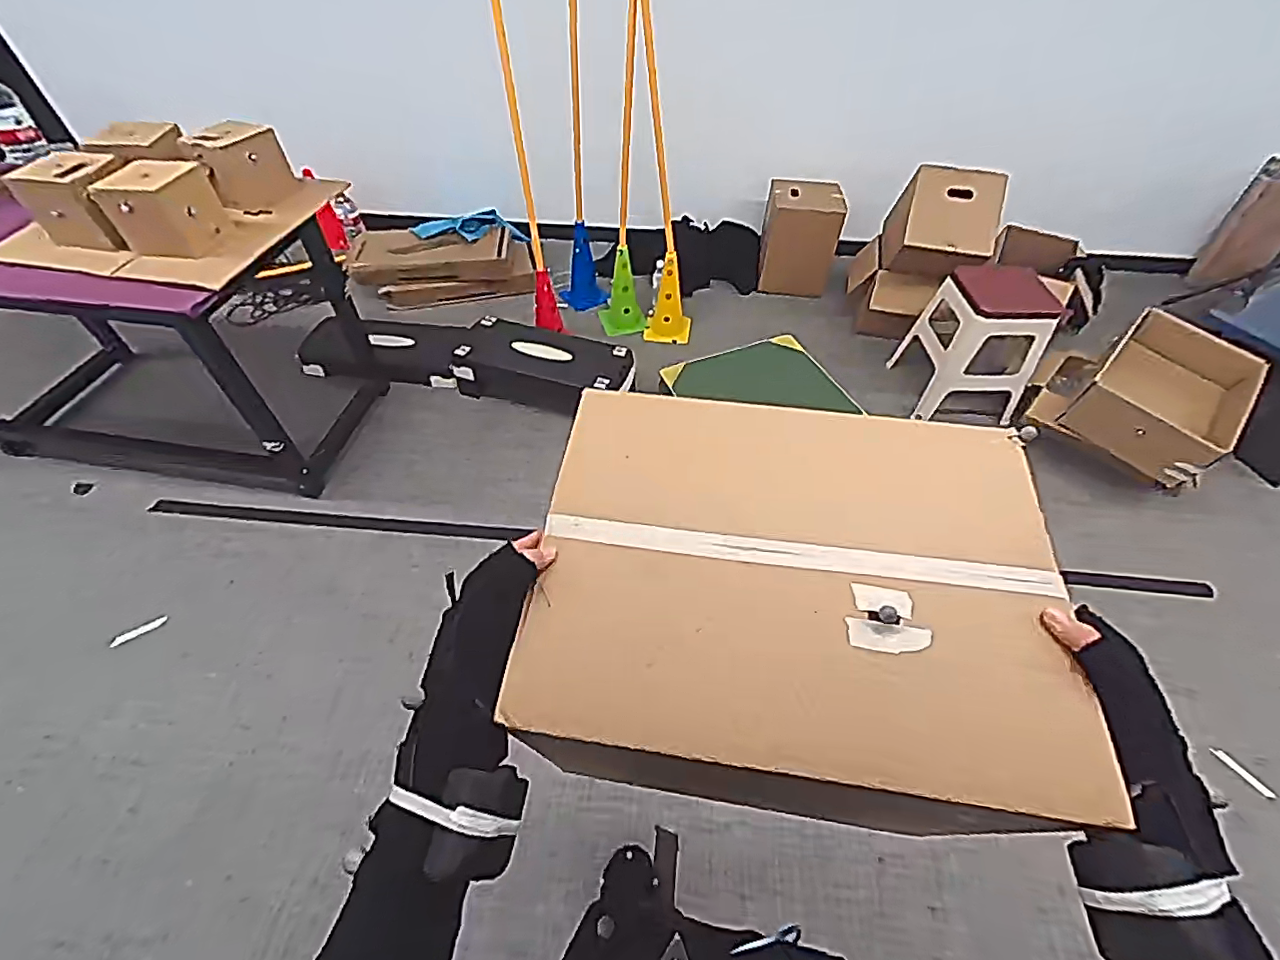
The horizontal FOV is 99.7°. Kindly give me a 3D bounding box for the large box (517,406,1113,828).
[{"bbox_3d":[0.129,0.152,0.565,0.408,0.320,0.320,7,58,6],"label":"large box"}]
